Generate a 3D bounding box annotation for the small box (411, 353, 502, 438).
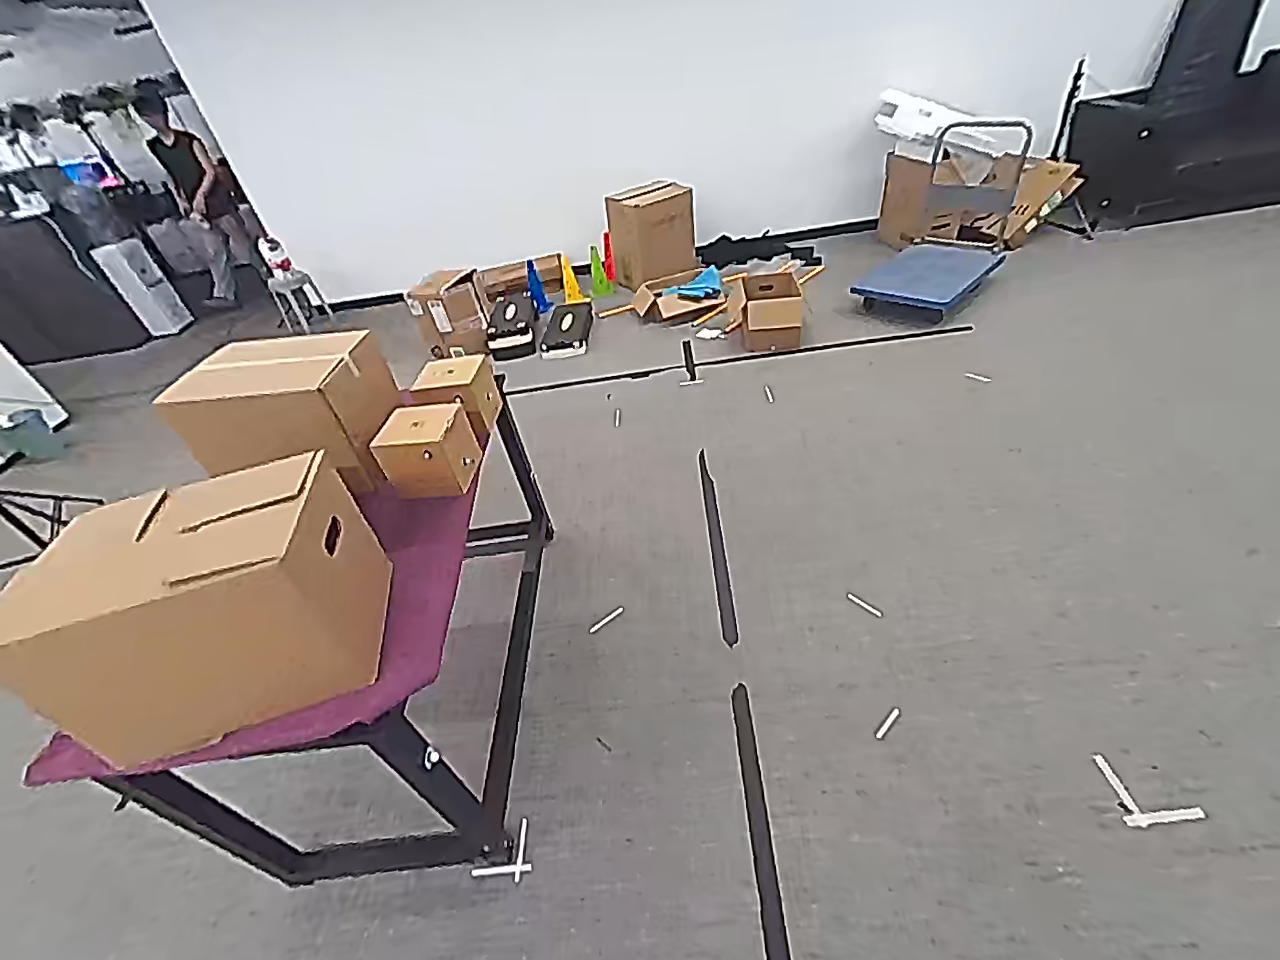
[{"bbox_3d":[-0.508,-0.237,1.531,0.179,0.176,0.168,-6,39,7],"label":"small box"}]
